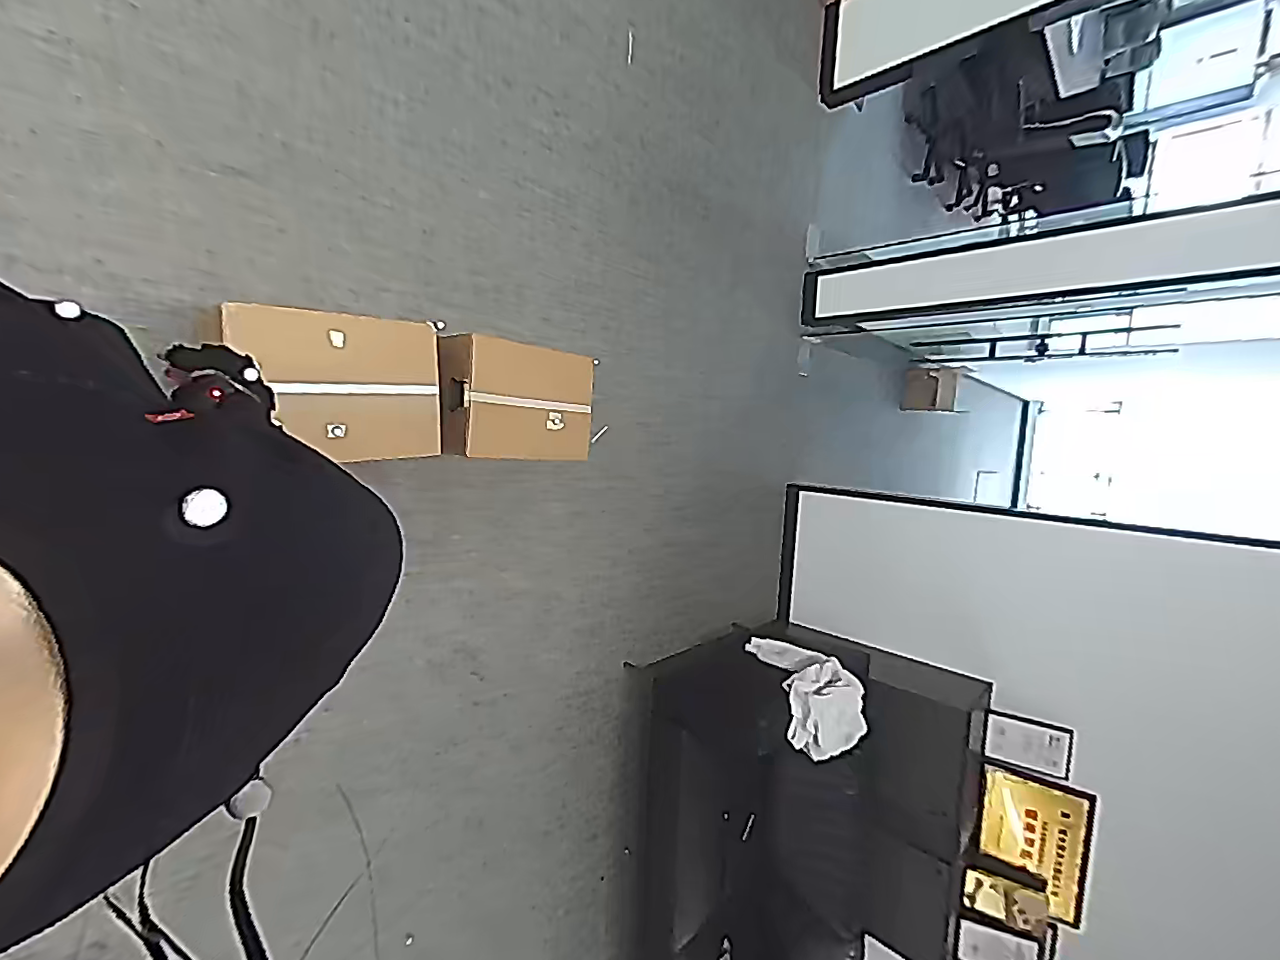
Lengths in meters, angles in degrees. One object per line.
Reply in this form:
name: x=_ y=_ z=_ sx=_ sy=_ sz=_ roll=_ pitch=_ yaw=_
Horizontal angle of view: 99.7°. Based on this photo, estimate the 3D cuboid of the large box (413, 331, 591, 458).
large box: x=-0.400 y=-0.232 z=1.576 sx=0.408 sy=0.320 sz=0.320 roll=0 pitch=97 yaw=-48
